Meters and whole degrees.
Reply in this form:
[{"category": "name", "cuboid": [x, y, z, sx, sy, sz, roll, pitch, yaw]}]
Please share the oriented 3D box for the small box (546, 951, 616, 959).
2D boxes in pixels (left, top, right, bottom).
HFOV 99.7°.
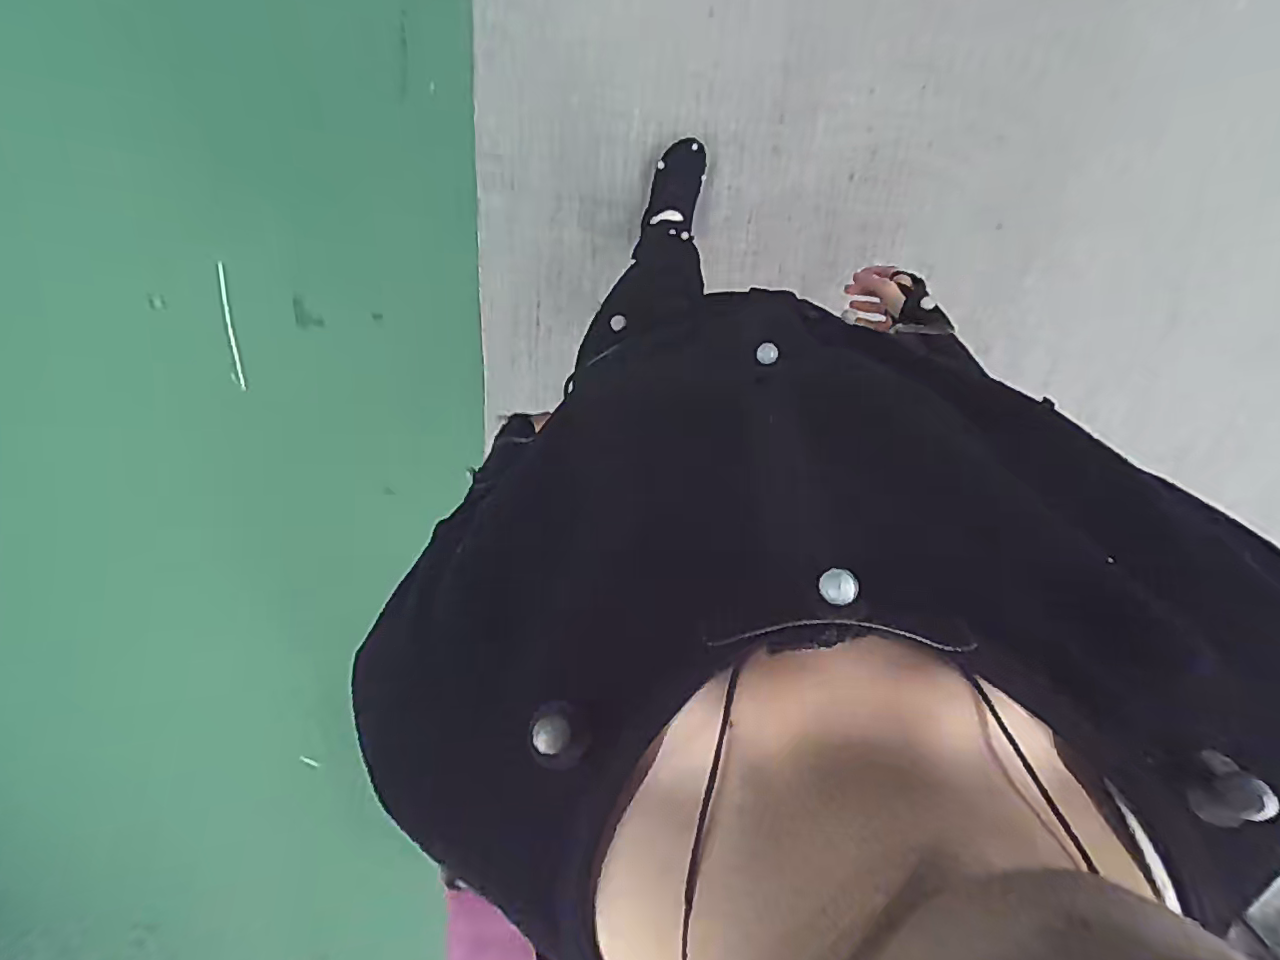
[{"category": "small box", "cuboid": [-0.147, 1.161, 1.163, 0.179, 0.176, 0.168, 14, 113, -7]}]
